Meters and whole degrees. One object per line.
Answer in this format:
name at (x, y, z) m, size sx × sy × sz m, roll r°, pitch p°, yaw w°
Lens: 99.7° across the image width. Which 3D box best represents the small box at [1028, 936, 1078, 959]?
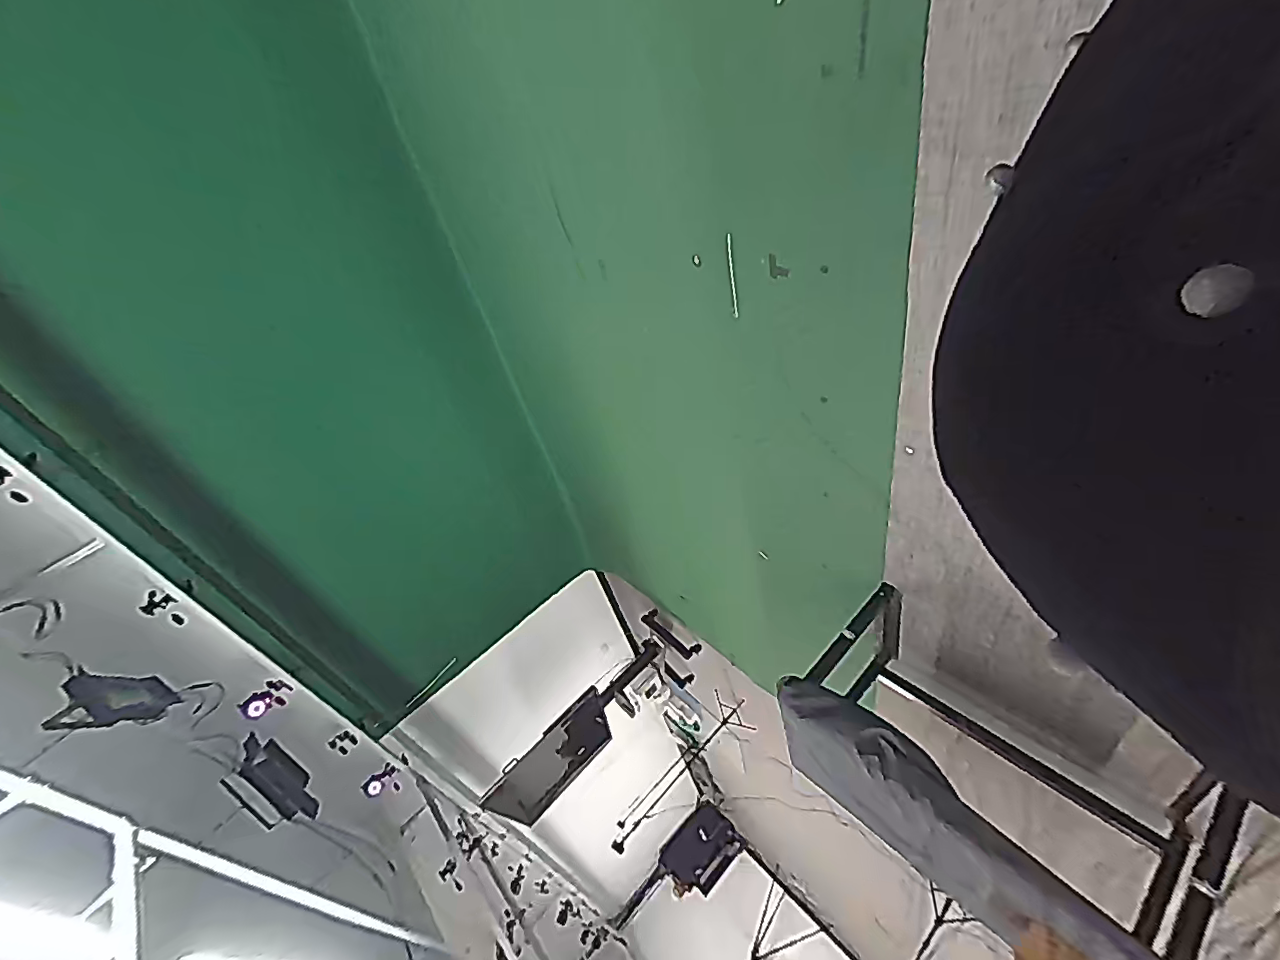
small box at (1.197, 1.457, 1.539) m, size 0.168 × 0.176 × 0.179 m, roll 28°, pitch 146°, yaw 45°
